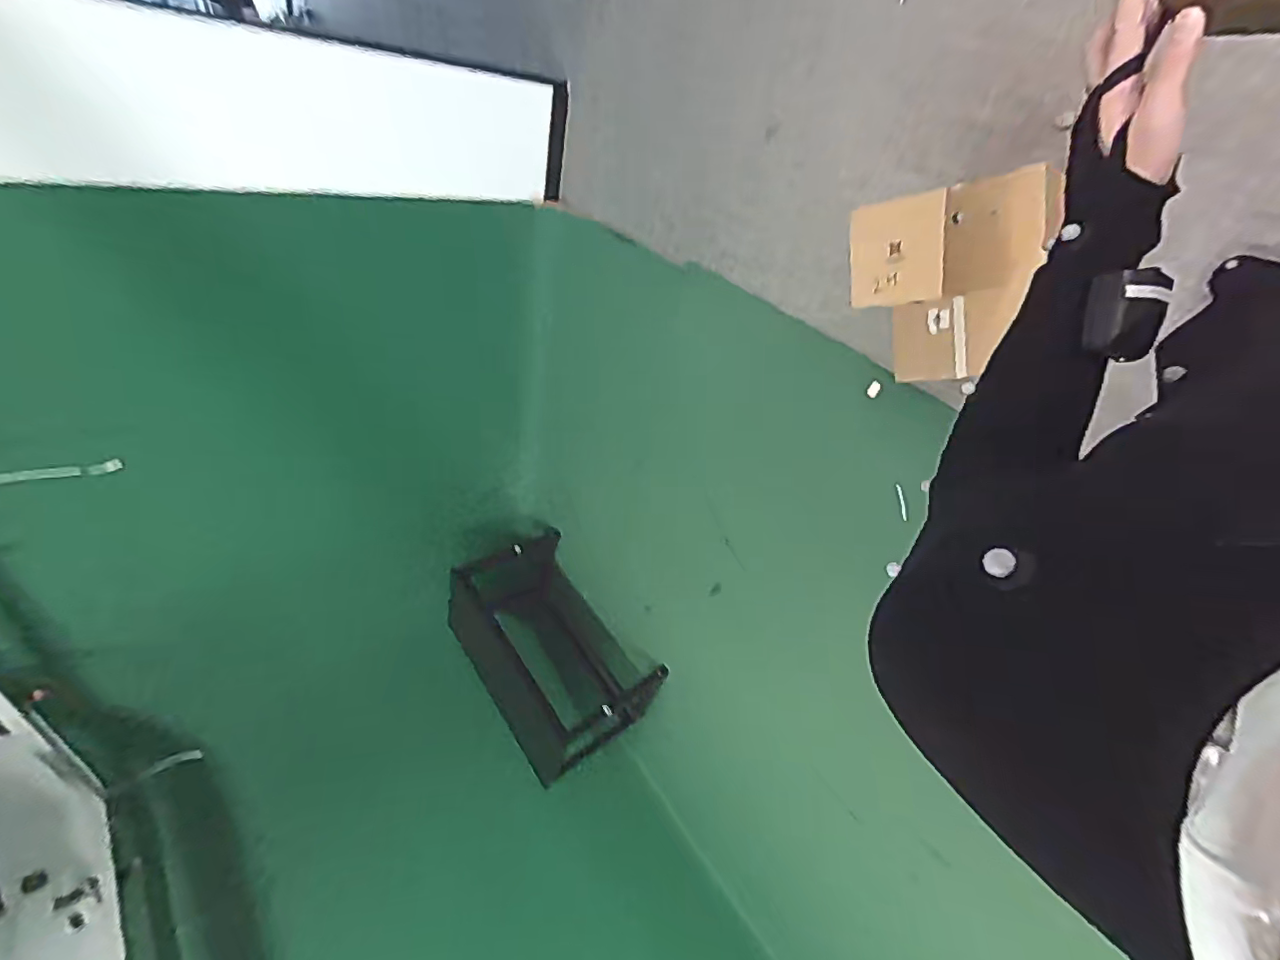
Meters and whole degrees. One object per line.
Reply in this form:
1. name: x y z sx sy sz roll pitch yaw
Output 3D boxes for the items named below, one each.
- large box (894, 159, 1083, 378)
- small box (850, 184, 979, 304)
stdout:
1. large box: 0.821 -0.480 1.281 0.320 0.320 0.408 6 112 51
2. small box: 0.510 -0.431 1.007 0.168 0.176 0.179 12 116 48
